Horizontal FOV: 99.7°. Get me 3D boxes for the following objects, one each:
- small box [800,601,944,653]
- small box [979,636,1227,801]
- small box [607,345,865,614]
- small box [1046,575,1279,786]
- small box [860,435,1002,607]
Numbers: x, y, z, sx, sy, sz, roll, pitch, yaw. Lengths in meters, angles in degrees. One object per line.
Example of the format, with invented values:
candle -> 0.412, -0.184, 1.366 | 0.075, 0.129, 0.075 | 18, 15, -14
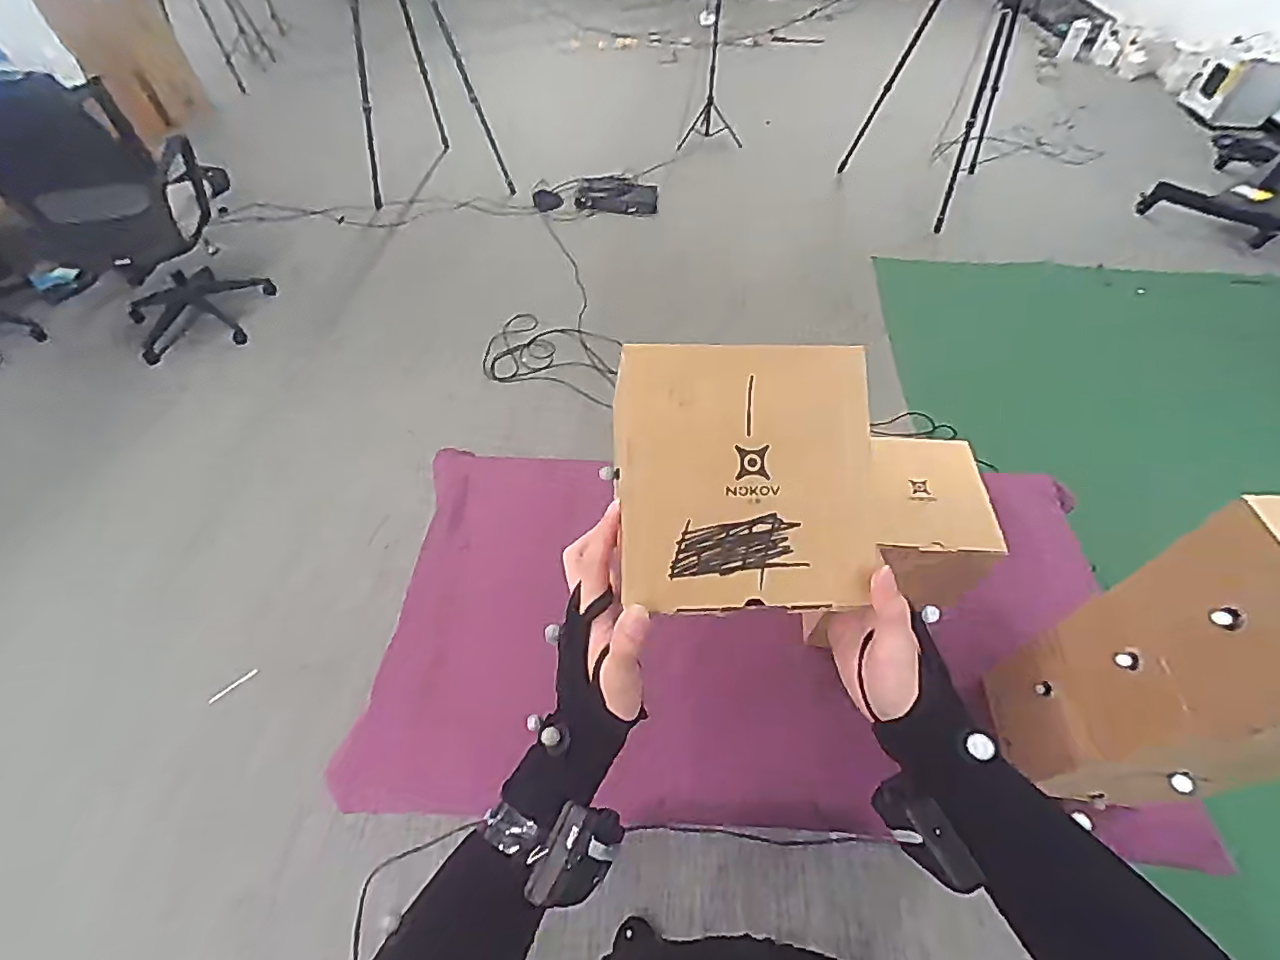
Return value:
small box -> 0.360, 0.160, 0.882 | 0.168, 0.176, 0.179 | 6, 54, 5
small box -> 0.617, 0.334, 0.750 | 0.179, 0.176, 0.168 | 5, 53, 5
small box -> 0.059, 0.003, 0.432 | 0.168, 0.176, 0.179 | -1, 85, -5
small box -> 0.617, 0.232, 0.622 | 0.168, 0.176, 0.179 | 4, 53, 6
small box -> 0.353, 0.059, 0.754 | 0.168, 0.176, 0.179 | 3, 55, 2
